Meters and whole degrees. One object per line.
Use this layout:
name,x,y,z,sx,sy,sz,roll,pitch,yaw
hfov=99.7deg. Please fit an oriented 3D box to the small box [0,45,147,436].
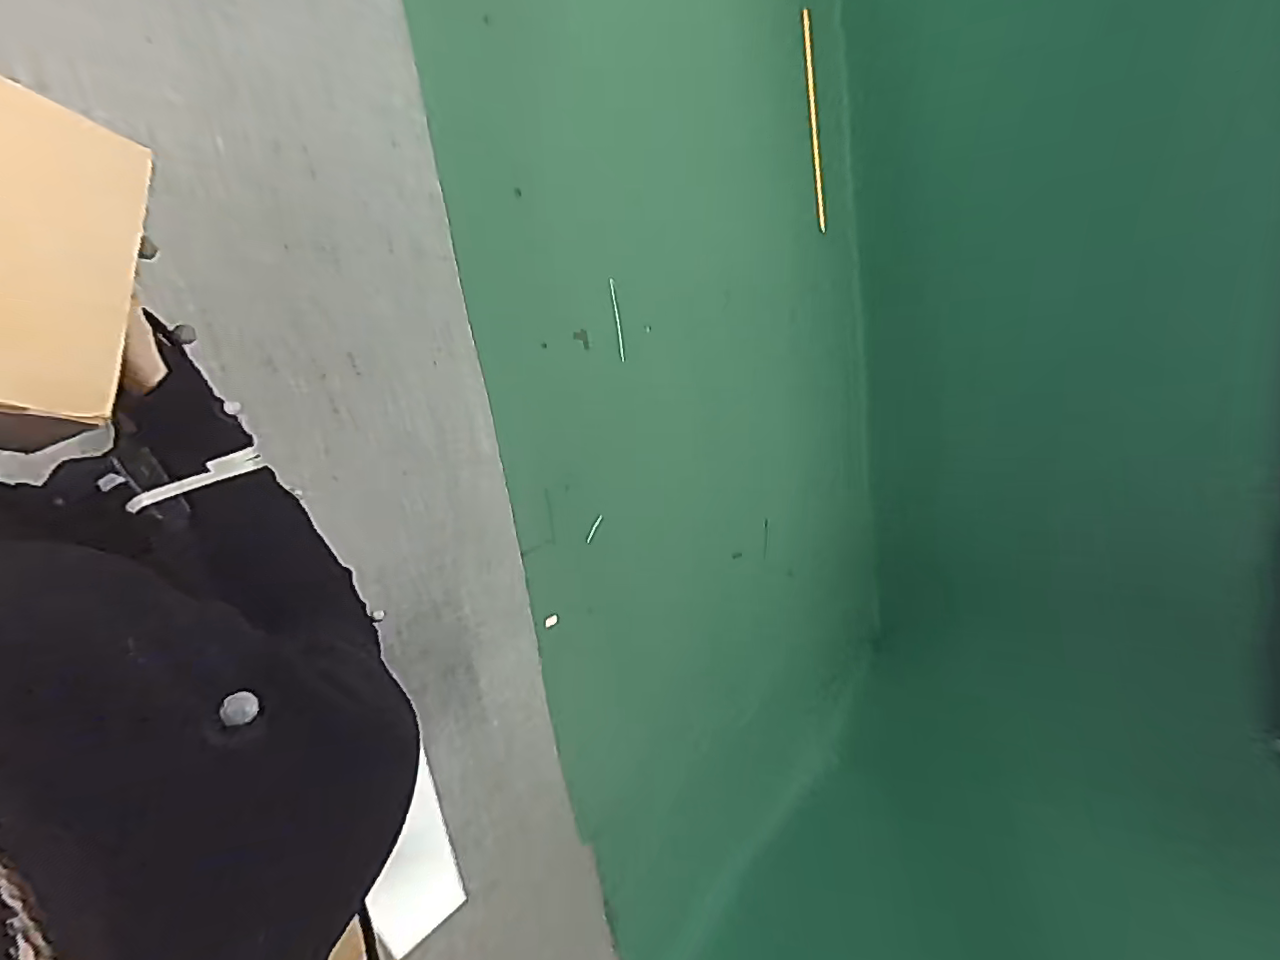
small box,-0.400,-0.129,0.275,0.168,0.176,0.179,15,73,-58
